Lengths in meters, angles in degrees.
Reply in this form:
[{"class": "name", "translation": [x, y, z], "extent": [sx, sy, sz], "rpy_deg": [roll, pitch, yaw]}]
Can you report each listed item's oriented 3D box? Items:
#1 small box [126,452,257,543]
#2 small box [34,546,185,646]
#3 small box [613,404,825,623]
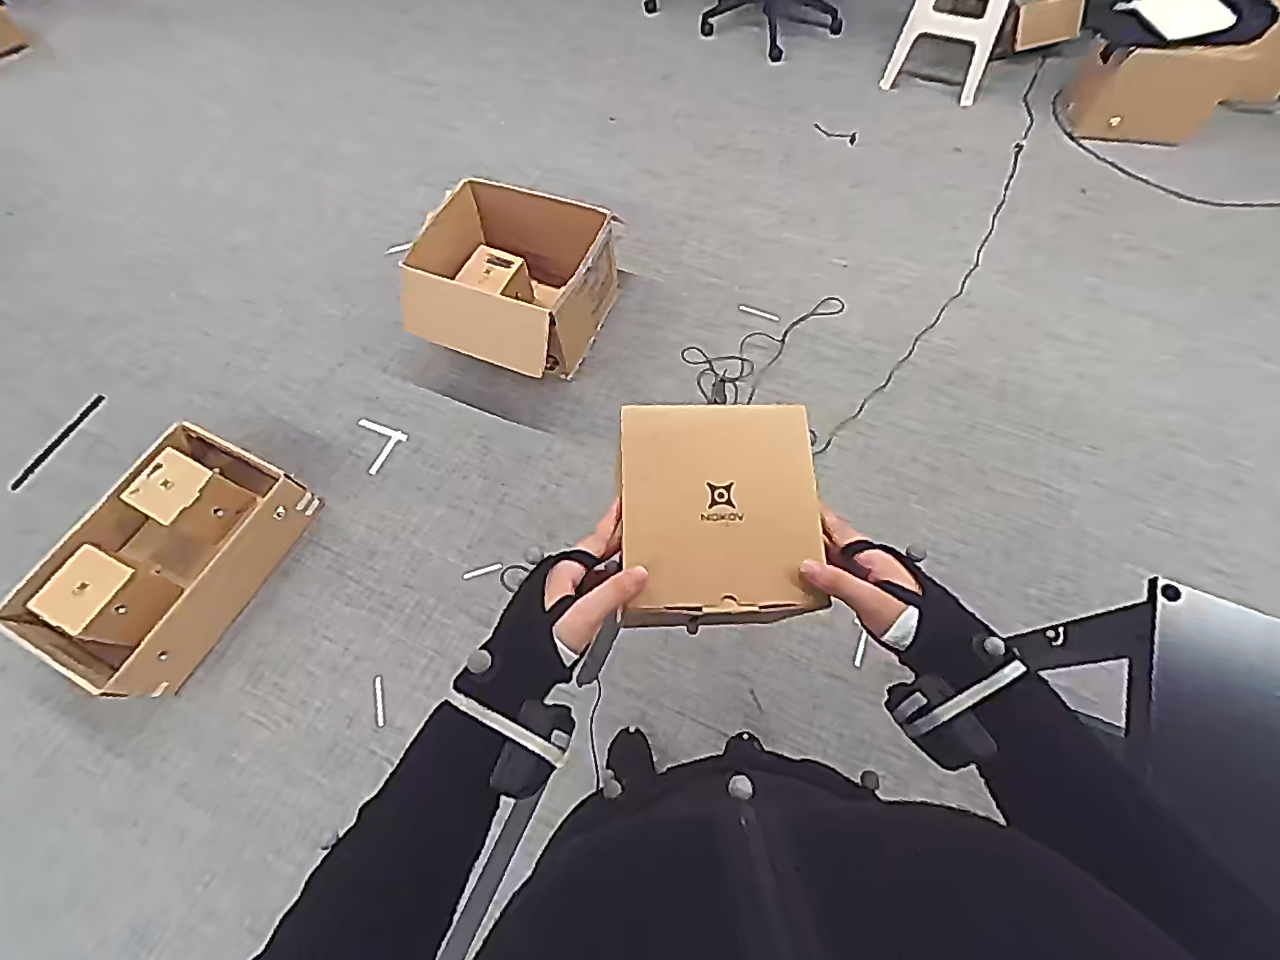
[{"class": "small box", "translation": [-1.208, 0.056, 1.473], "extent": [0.179, 0.176, 0.168], "rpy_deg": [26, 69, 11]}, {"class": "small box", "translation": [-1.321, 0.299, 1.363], "extent": [0.168, 0.176, 0.179], "rpy_deg": [23, 66, 10]}, {"class": "small box", "translation": [0.058, 0.041, 0.523], "extent": [0.168, 0.176, 0.179], "rpy_deg": [-1, 72, -4]}]
